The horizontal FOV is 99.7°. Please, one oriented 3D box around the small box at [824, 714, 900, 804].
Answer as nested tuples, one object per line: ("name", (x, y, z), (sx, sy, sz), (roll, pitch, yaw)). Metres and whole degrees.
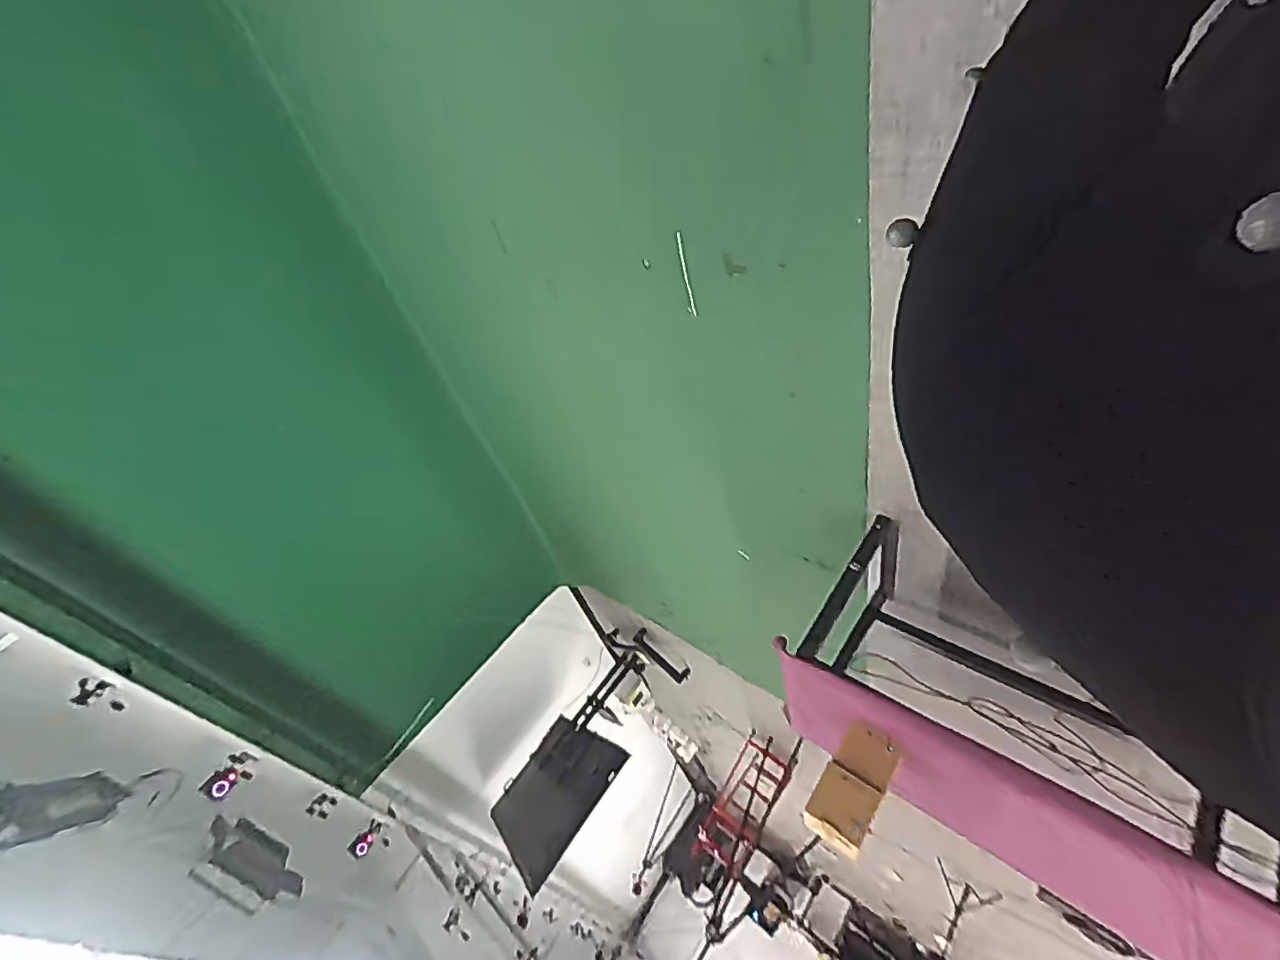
("small box", (0.705, 0.881, 1.716), (0.168, 0.176, 0.179), (26, 149, 33))
